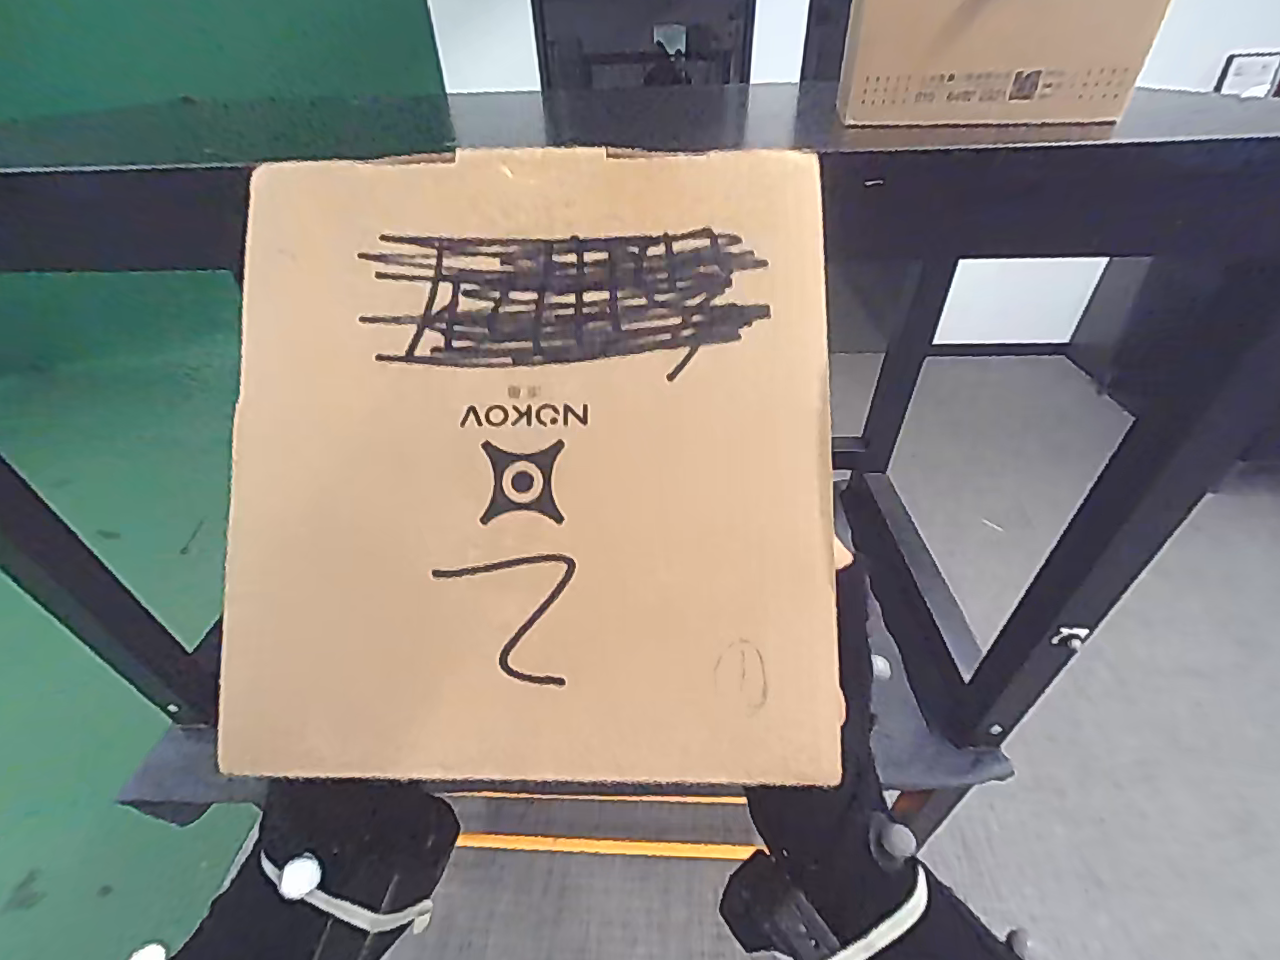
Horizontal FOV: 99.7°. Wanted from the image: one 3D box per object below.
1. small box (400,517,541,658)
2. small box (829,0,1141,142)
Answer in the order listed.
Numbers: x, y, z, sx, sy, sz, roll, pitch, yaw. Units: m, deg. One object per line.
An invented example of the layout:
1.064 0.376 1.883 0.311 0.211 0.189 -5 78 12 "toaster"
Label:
-0.272 0.182 0.918 0.168 0.176 0.179 1 38 4 "small box"
0.235 -0.346 0.382 0.168 0.176 0.179 8 39 12 "small box"
